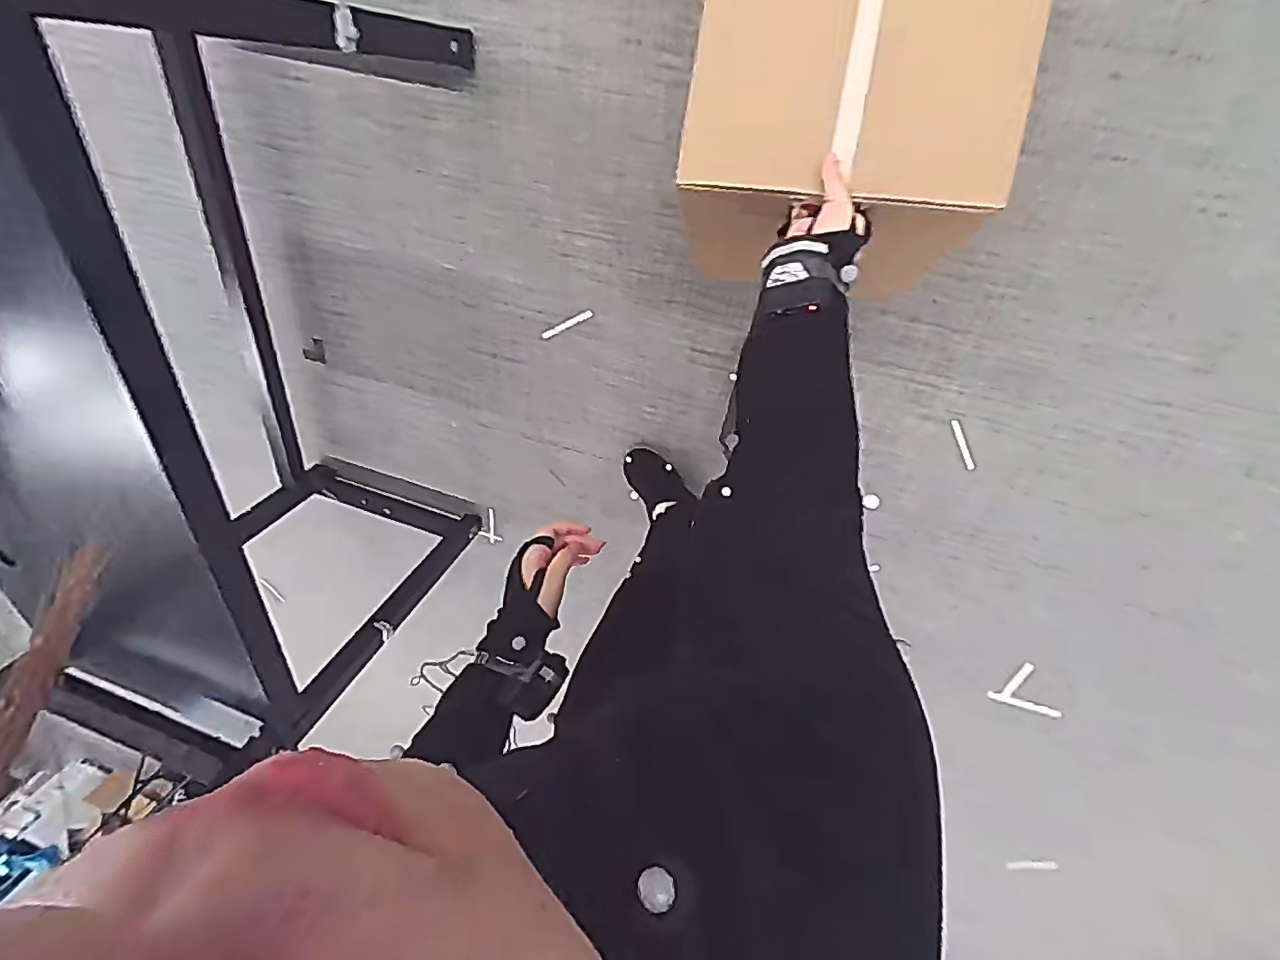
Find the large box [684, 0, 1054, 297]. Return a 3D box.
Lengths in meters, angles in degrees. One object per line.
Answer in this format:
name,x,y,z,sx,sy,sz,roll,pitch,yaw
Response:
large box,0.247,-0.472,0.647,0.320,0.320,0.408,10,93,9
